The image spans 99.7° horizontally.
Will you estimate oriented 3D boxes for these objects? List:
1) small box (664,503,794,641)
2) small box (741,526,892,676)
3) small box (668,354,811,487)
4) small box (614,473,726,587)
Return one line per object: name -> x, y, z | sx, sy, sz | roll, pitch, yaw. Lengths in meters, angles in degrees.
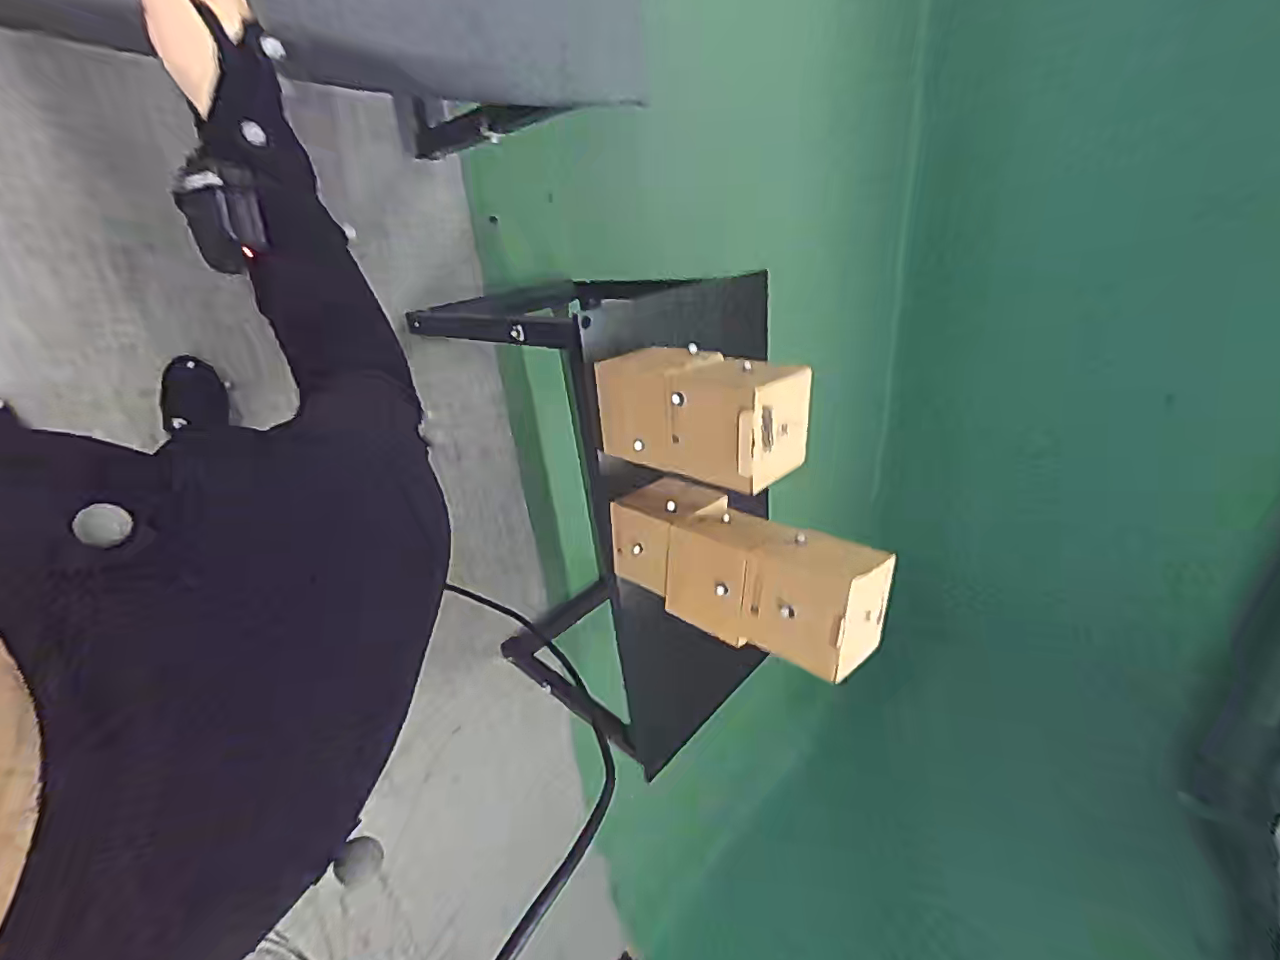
small box -> 0.160, 0.158, 0.994 | 0.168, 0.176, 0.179 | -13, 113, -44
small box -> 0.287, 0.187, 0.893 | 0.179, 0.176, 0.168 | -9, 110, -44
small box -> 0.159, -0.107, 0.893 | 0.179, 0.176, 0.168 | -25, 122, -41
small box -> 0.057, 0.100, 1.108 | 0.179, 0.176, 0.168 | -23, 121, -41
